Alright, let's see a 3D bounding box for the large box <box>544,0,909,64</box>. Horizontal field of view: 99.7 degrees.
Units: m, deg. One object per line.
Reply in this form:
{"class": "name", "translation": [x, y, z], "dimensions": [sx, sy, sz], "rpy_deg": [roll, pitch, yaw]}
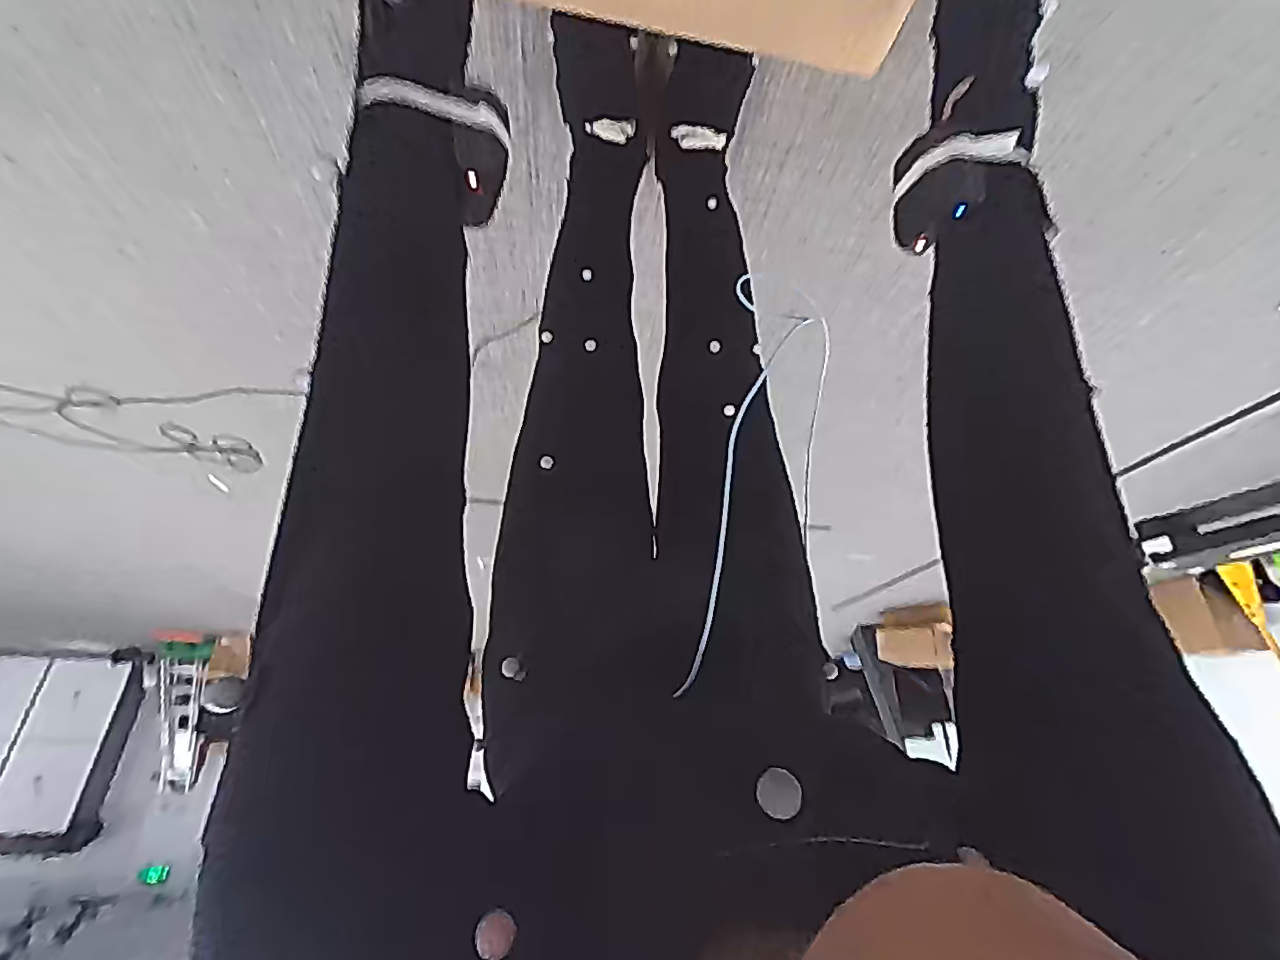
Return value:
{"class": "large box", "translation": [0.061, -0.618, 0.430], "dimensions": [0.408, 0.320, 0.320], "rpy_deg": [5, 155, -9]}
